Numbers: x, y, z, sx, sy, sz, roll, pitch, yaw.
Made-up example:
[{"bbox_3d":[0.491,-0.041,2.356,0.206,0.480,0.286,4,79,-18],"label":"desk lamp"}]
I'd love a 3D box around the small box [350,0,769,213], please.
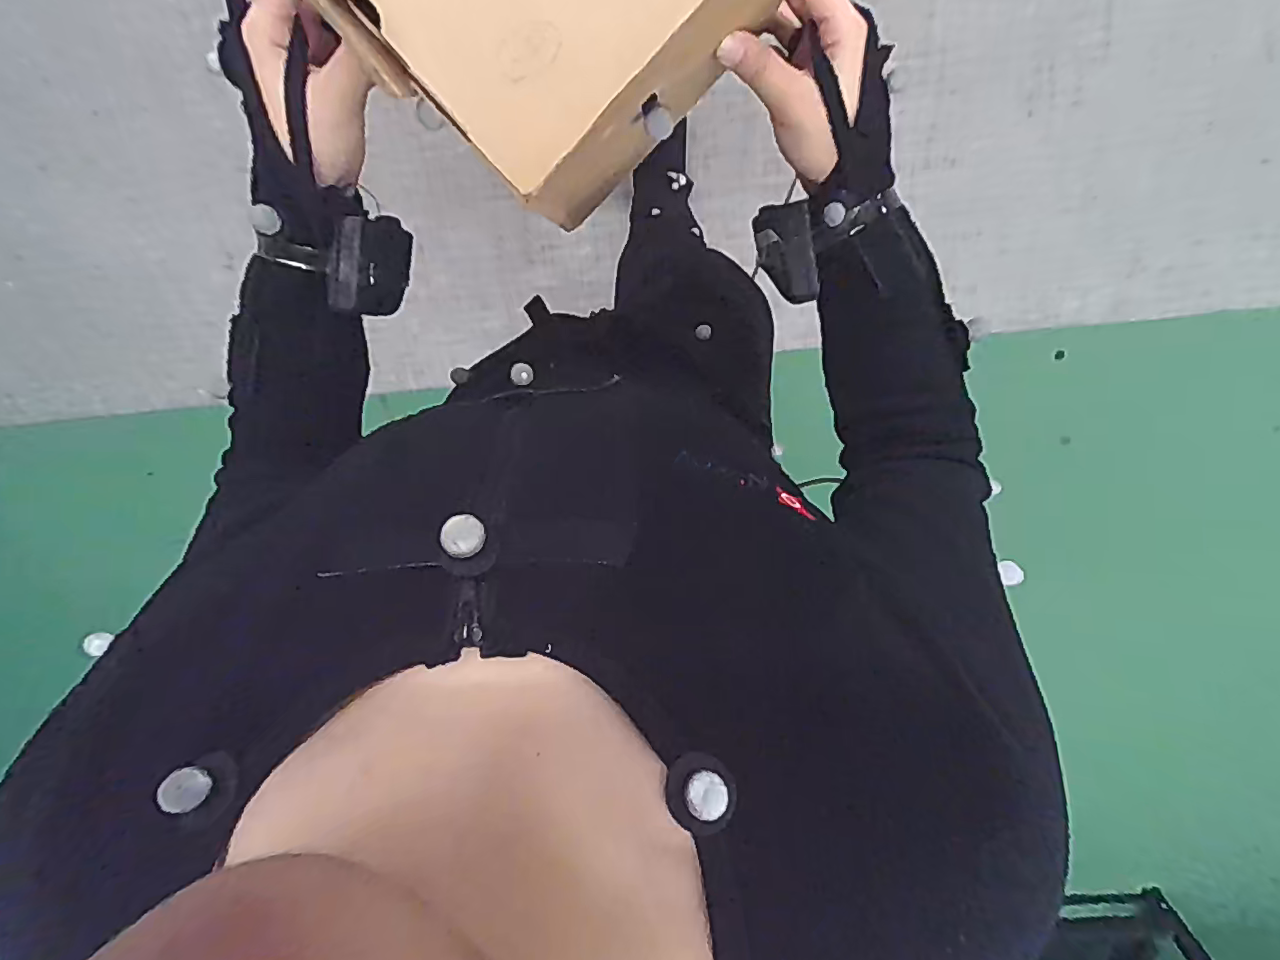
[{"bbox_3d":[-0.038,-0.258,0.259,0.179,0.176,0.168,-40,106,14],"label":"small box"}]
